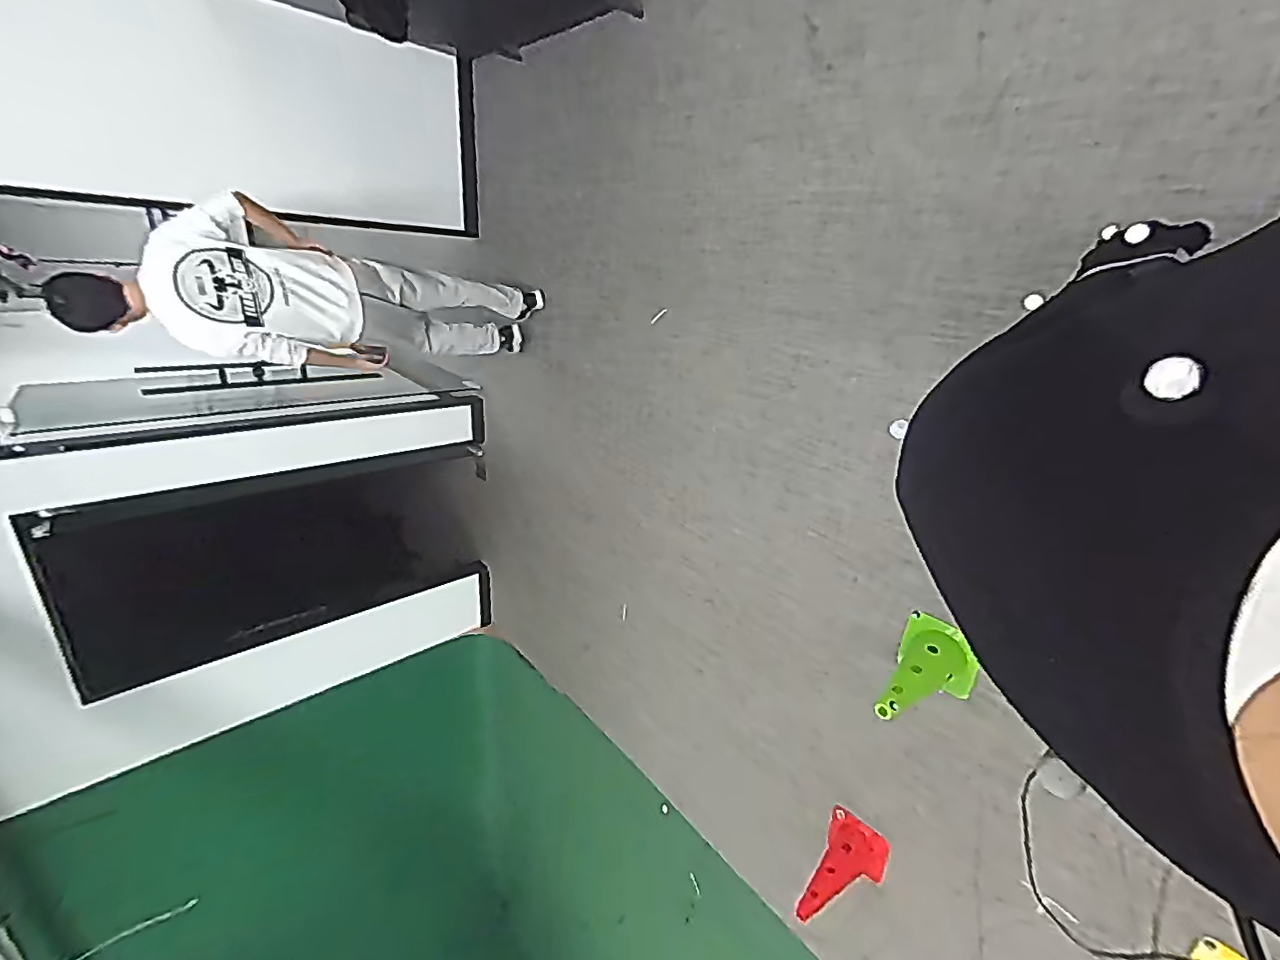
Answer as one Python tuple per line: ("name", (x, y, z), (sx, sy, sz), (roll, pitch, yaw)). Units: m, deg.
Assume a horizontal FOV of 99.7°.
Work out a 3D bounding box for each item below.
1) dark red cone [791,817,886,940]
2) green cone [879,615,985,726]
("dark red cone", (0.610, 1.313, 1.742), (0.202, 0.394, 0.201), (20, 117, 45))
("green cone", (0.721, 0.537, 1.419), (0.202, 0.368, 0.200), (24, 119, 42))
